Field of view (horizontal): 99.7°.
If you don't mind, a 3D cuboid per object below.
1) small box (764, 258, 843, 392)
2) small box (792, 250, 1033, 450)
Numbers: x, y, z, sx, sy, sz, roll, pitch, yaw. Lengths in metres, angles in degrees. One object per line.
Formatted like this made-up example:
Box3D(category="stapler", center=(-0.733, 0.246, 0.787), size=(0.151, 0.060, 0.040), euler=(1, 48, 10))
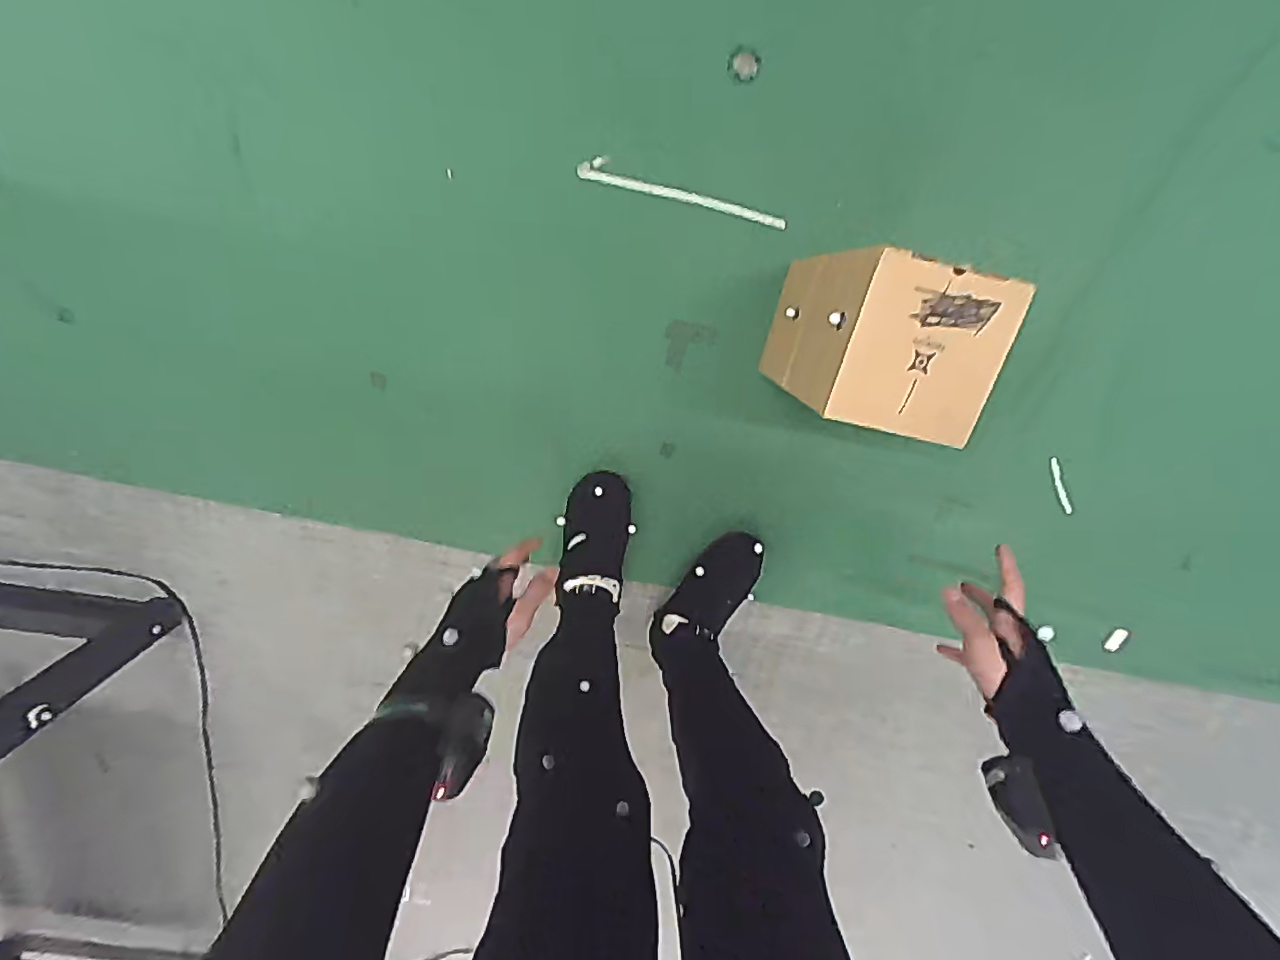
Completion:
Box3D(category="small box", center=(0.296, -0.210, 0.796), size=(0.168, 0.176, 0.179), euler=(14, 109, -5))
Box3D(category="small box", center=(0.299, -0.156, 0.641), size=(0.168, 0.176, 0.179), euler=(13, 109, -5))
